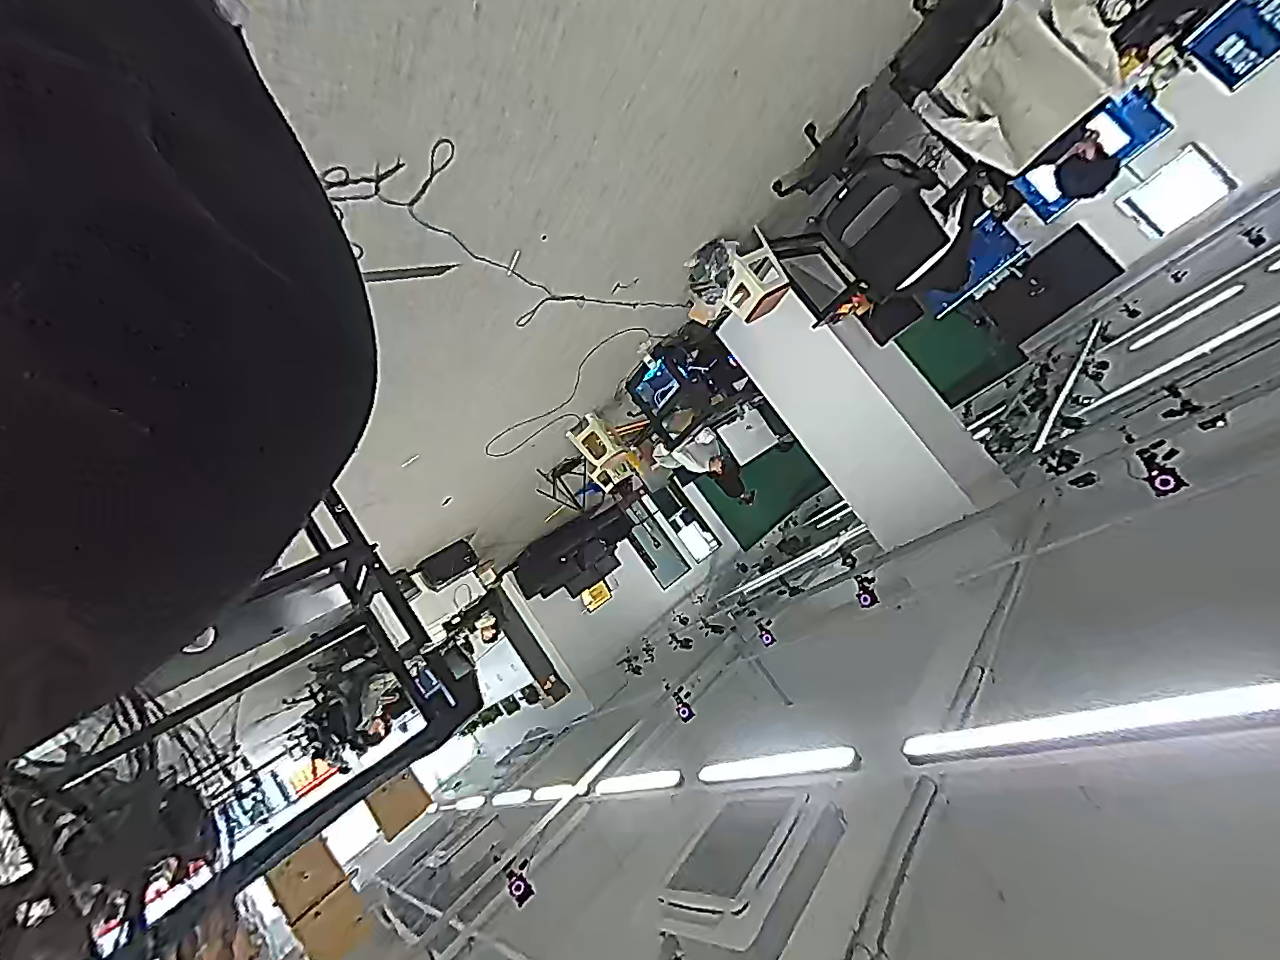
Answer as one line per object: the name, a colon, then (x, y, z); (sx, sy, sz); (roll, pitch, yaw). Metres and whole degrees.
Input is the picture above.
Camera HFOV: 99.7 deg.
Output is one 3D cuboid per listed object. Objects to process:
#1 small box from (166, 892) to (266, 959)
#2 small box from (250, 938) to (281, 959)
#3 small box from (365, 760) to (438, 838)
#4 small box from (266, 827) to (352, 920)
small box: (-1.173, 1.287, 1.501); (0.168, 0.176, 0.179); (-31, 172, -43)
small box: (-1.071, 1.417, 1.471); (0.179, 0.176, 0.168); (-29, 171, -39)
small box: (-0.831, 1.098, 1.873); (0.168, 0.176, 0.179); (-30, 172, -38)
small box: (-1.024, 1.204, 1.664); (0.168, 0.176, 0.179); (-28, 170, -45)
